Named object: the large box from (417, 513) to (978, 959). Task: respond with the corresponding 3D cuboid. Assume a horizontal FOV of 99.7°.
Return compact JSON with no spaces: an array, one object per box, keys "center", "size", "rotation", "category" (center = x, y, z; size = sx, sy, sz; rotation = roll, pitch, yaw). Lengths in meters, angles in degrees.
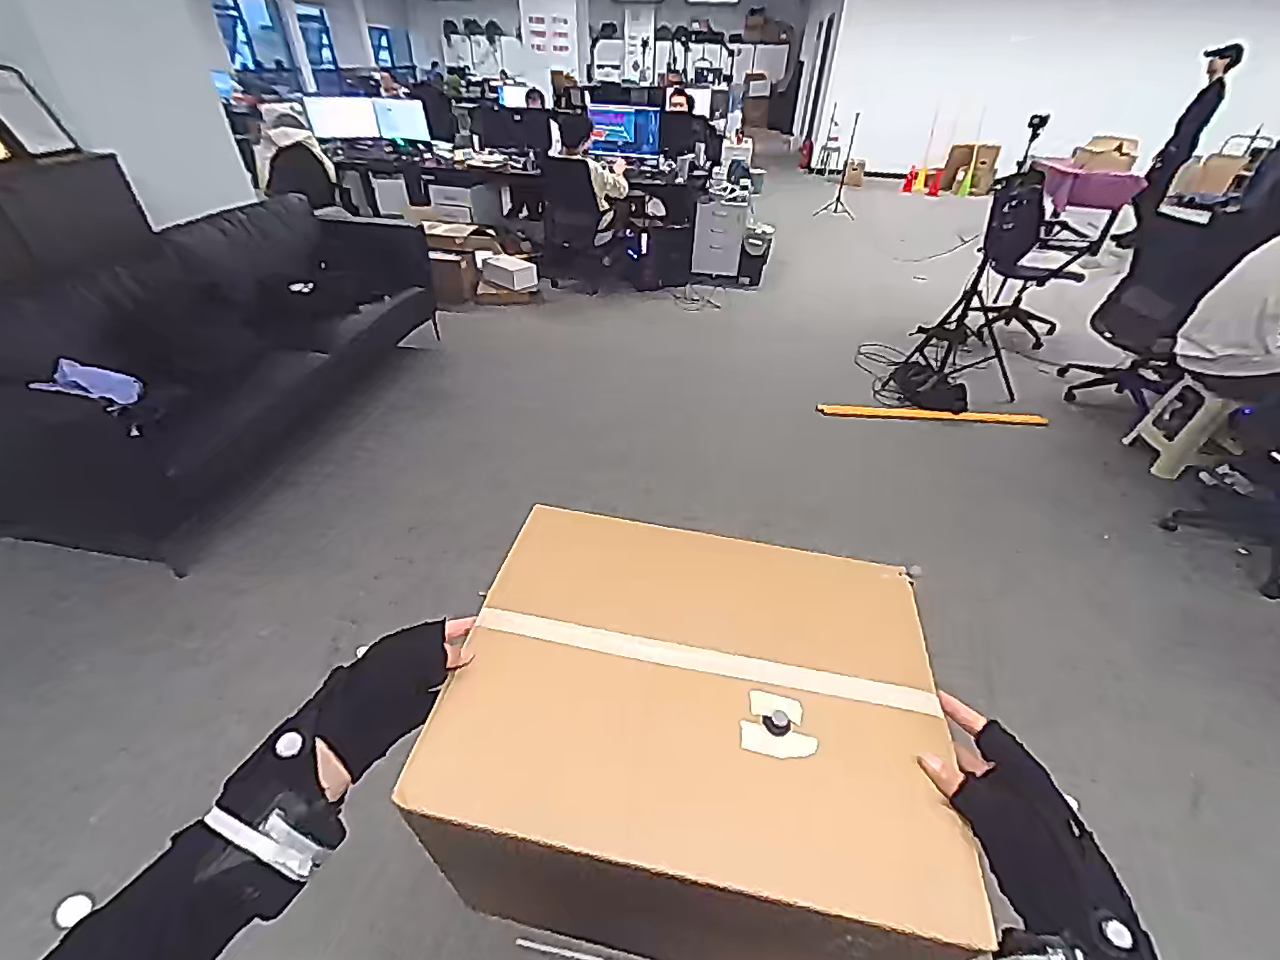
[{"center":[0.047,0.273,0.582],"size":[0.408,0.320,0.320],"rotation":[9,42,6],"category":"large box"}]
